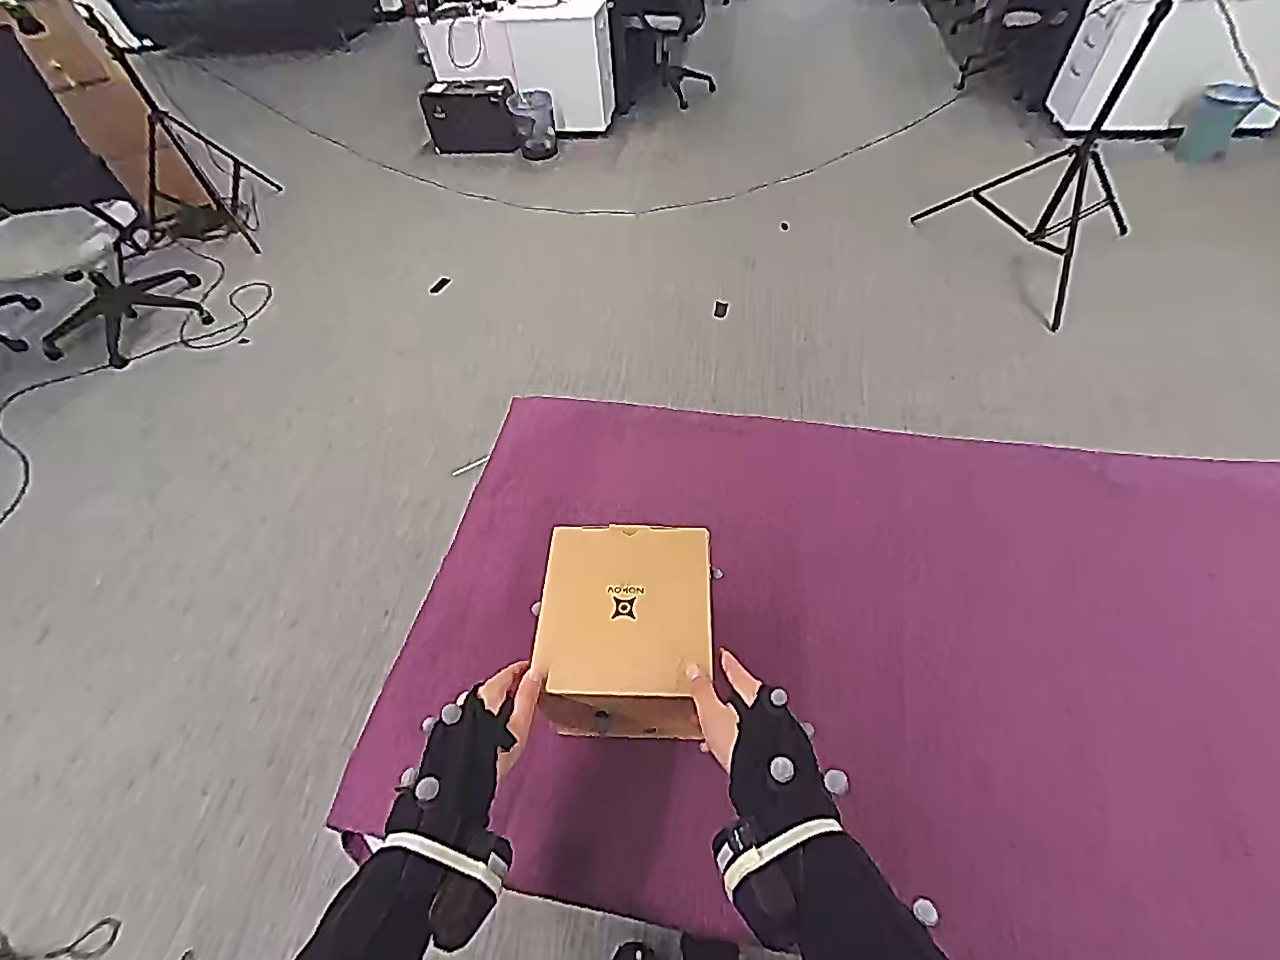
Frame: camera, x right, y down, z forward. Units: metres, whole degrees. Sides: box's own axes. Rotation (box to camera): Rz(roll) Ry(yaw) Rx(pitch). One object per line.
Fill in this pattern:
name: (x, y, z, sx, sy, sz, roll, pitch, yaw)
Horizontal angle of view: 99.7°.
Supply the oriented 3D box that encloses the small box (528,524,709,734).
small box: (-0.010, 0.165, 0.586, 0.168, 0.176, 0.179, 0, 52, 4)
